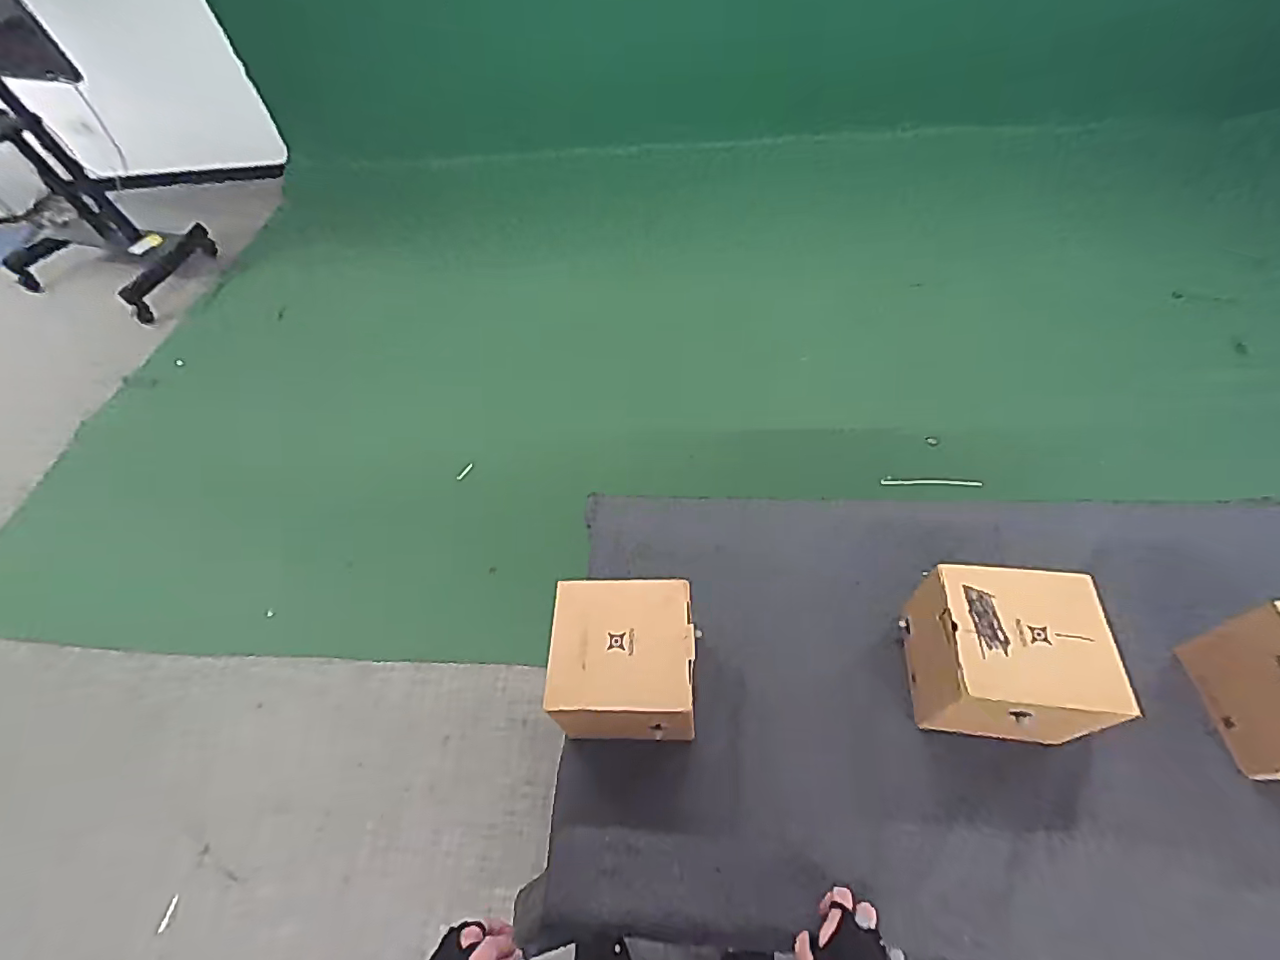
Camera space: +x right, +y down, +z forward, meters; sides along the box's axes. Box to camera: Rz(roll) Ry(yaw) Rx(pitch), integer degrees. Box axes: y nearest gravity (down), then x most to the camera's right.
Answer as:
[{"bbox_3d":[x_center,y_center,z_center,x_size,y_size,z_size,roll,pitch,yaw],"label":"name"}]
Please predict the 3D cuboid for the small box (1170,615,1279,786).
[{"bbox_3d":[0.818,0.264,0.645,0.179,0.176,0.168,-4,56,4],"label":"small box"}]

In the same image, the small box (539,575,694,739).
[{"bbox_3d":[-0.019,0.236,0.715,0.179,0.176,0.168,-3,54,5],"label":"small box"}]

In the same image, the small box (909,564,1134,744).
[{"bbox_3d":[0.456,0.225,0.688,0.179,0.176,0.168,6,58,10],"label":"small box"}]
